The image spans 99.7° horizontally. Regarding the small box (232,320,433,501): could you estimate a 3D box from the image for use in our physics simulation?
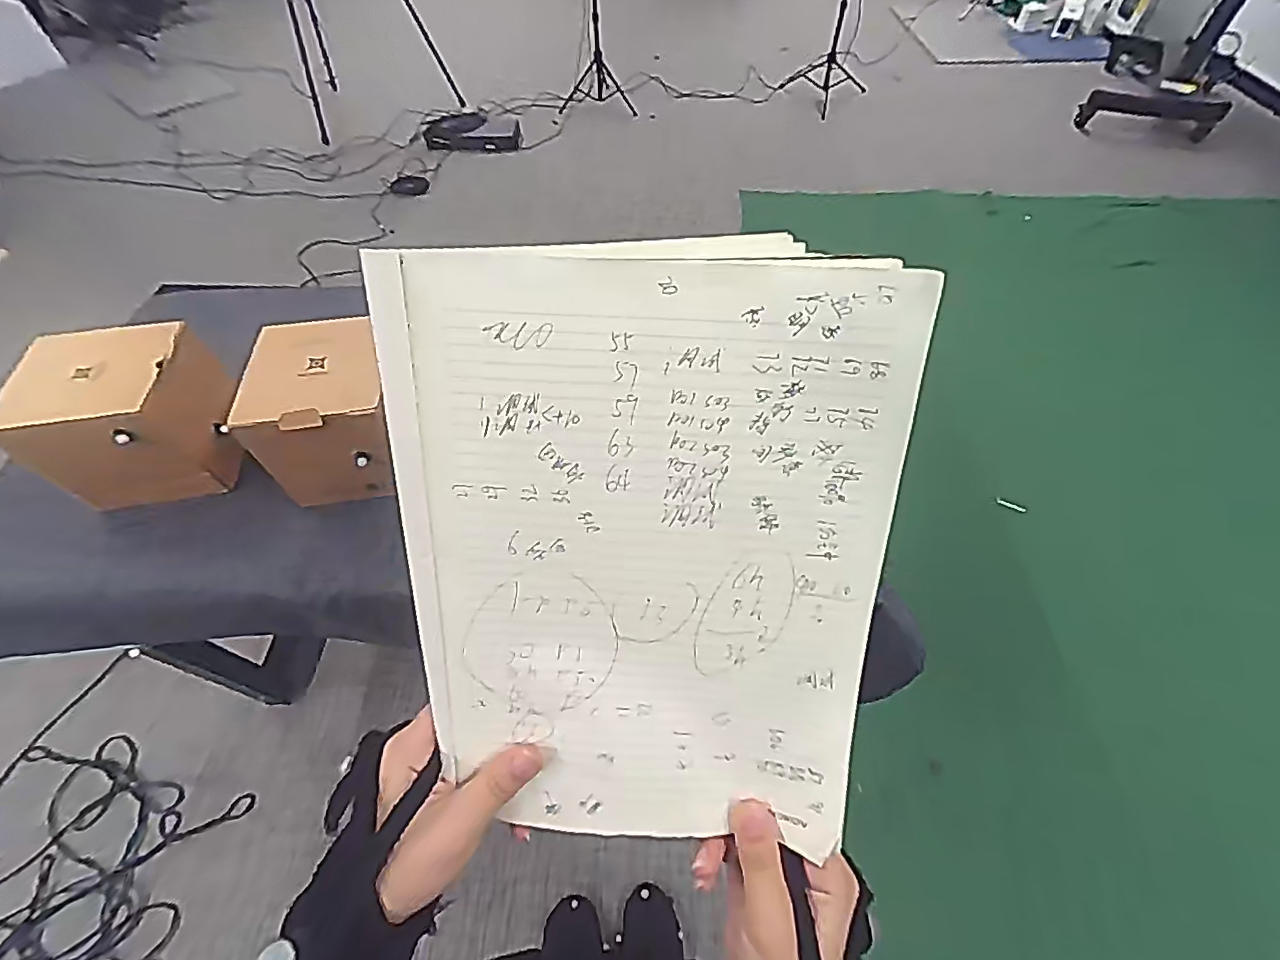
[{"bbox_3d":[-0.387,-0.085,0.720,0.168,0.176,0.179,-7,53,-6],"label":"small box"}]

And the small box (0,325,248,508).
[{"bbox_3d":[-0.660,-0.079,0.718,0.179,0.176,0.168,-9,54,-7],"label":"small box"}]
